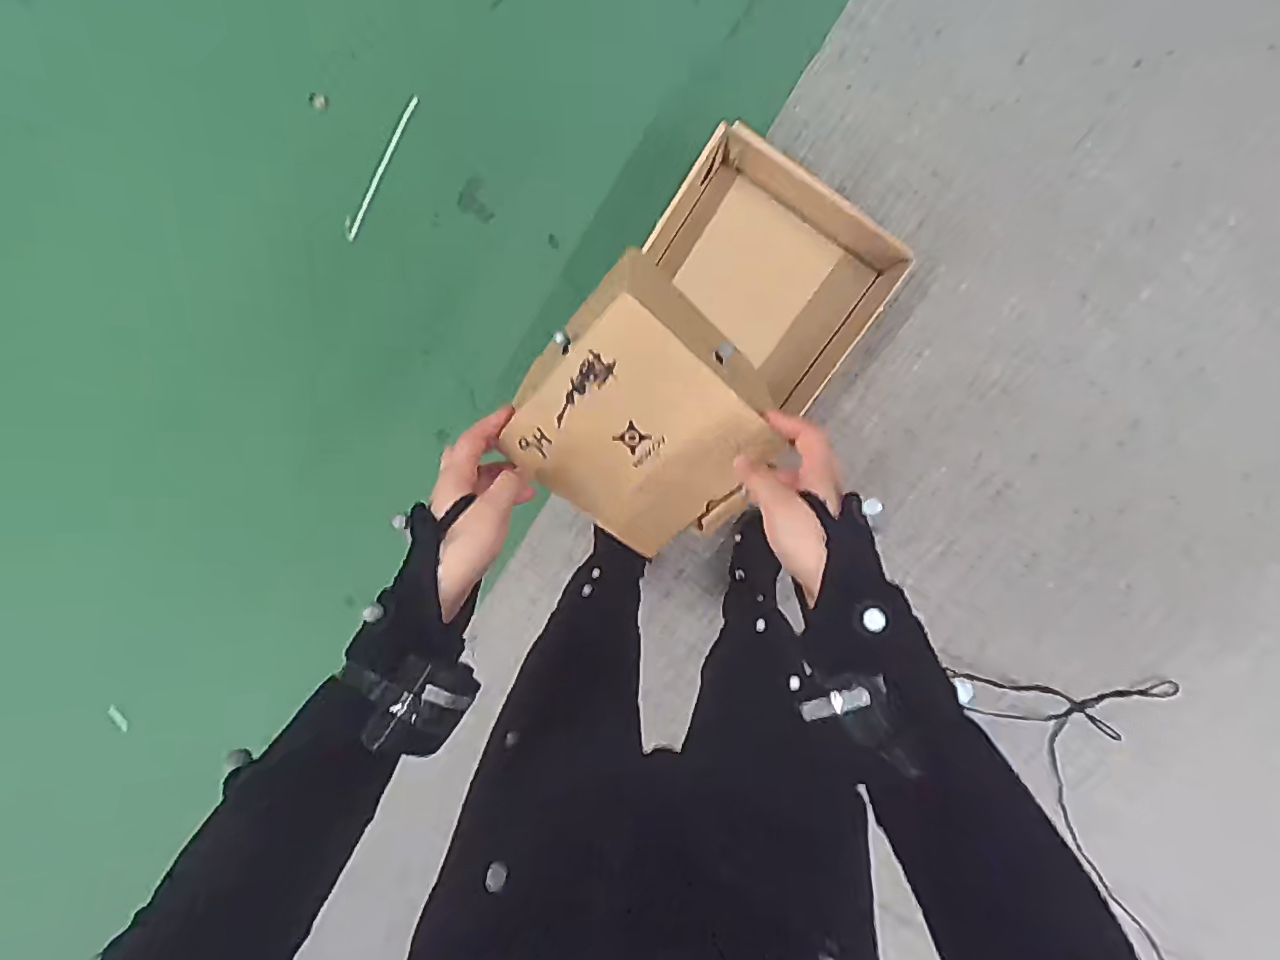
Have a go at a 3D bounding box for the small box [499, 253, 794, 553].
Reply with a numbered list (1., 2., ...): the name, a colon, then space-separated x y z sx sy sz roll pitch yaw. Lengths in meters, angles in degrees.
1. small box: 0.007 -0.075 0.489 0.179 0.176 0.168 39 115 -22
